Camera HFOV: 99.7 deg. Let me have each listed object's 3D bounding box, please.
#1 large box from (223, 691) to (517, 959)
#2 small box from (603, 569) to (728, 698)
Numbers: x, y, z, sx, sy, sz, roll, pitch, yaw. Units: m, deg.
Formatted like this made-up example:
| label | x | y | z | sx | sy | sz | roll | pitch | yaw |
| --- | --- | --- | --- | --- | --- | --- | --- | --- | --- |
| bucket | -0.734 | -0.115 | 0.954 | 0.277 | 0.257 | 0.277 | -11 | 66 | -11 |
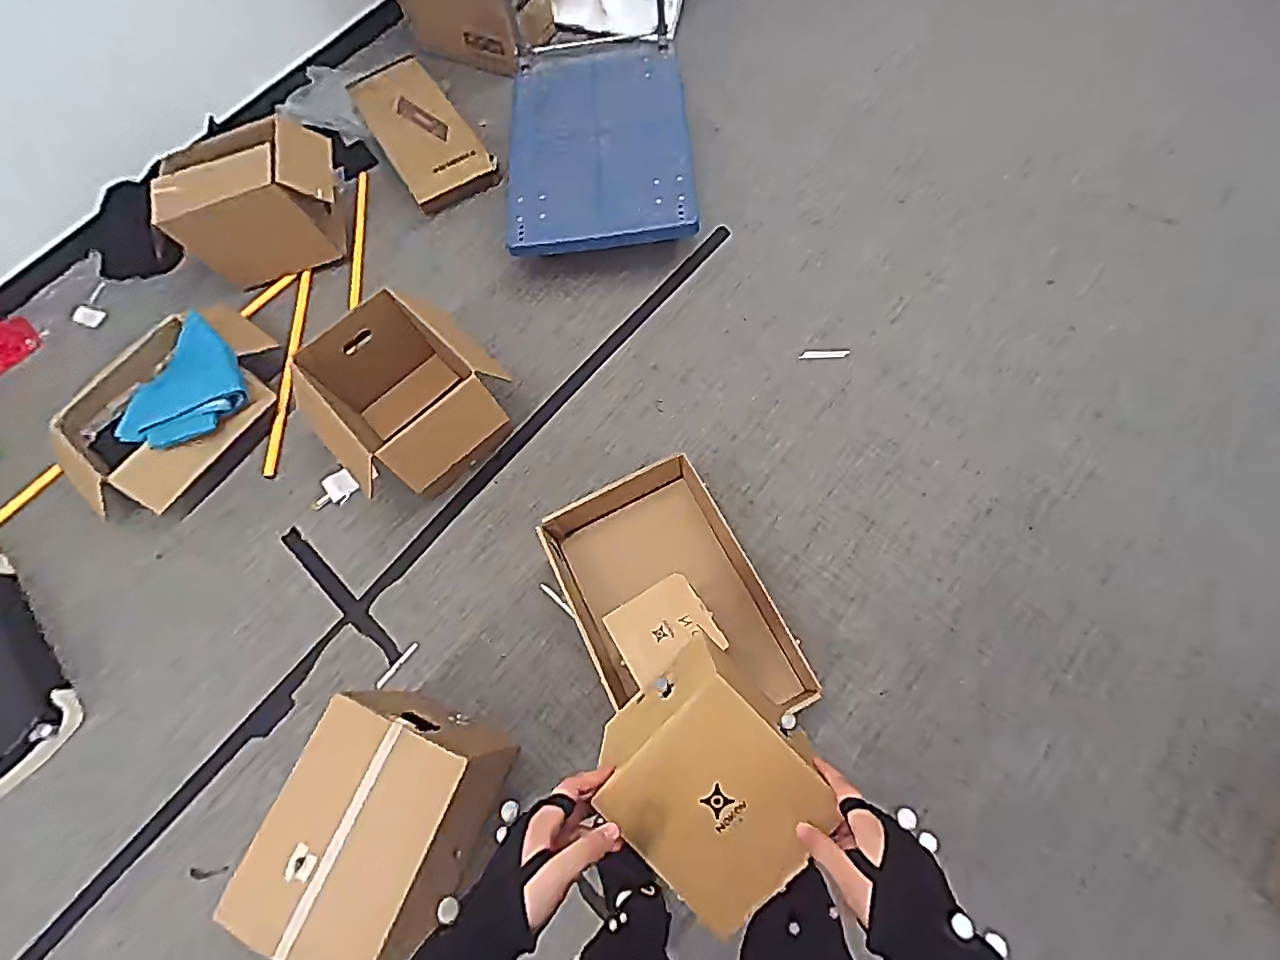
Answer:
| label | x | y | z | sx | sy | sz | roll | pitch | yaw |
| --- | --- | --- | --- | --- | --- | --- | --- | --- | --- |
| large box | -0.507 | 0.689 | 1.109 | 0.320 | 0.320 | 0.408 | 19 | 73 | 14 |
| small box | 0.054 | 0.301 | 1.036 | 0.179 | 0.176 | 0.168 | -31 | 66 | -6 |
